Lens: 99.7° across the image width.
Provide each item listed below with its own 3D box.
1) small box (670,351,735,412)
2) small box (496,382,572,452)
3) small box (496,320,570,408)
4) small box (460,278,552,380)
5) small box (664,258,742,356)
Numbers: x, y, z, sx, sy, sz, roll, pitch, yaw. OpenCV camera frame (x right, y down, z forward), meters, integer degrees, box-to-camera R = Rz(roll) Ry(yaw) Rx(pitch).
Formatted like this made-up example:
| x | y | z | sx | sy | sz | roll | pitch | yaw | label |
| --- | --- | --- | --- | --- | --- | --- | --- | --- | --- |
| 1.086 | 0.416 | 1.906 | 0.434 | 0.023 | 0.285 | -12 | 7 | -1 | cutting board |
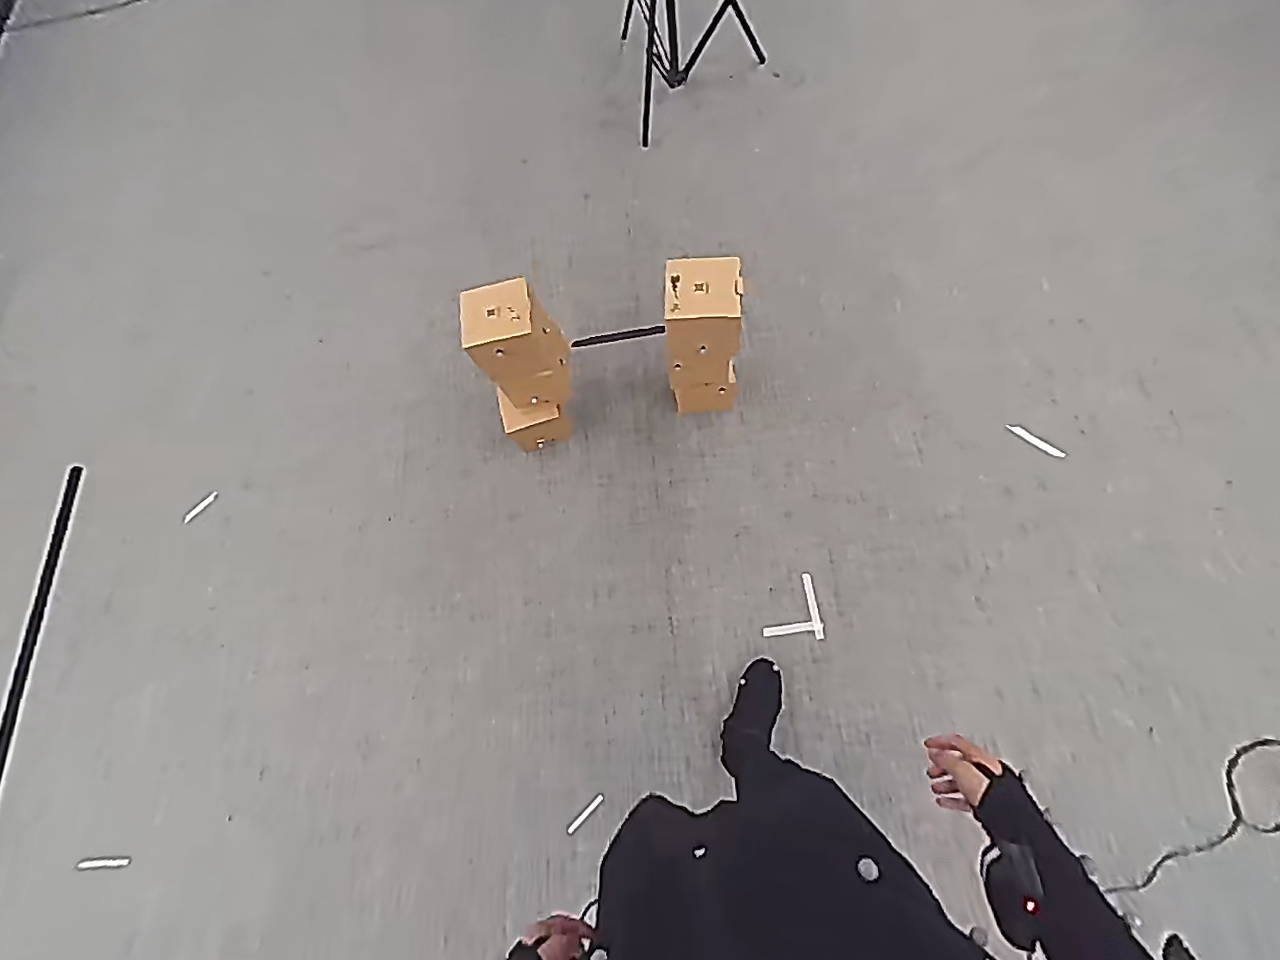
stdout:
| x | y | z | sx | sy | sz | roll | pitch | yaw | label |
| --- | --- | --- | --- | --- | --- | --- | --- | --- | --- |
| 0.187 | -0.315 | 1.621 | 0.179 | 0.176 | 0.168 | -7 | 71 | 5 | small box |
| -0.322 | -0.209 | 1.658 | 0.168 | 0.176 | 0.179 | -18 | 71 | 3 | small box |
| -0.297 | -0.322 | 1.518 | 0.168 | 0.176 | 0.179 | -4 | 71 | 8 | small box |
| -0.336 | -0.373 | 1.366 | 0.179 | 0.176 | 0.168 | -11 | 70 | 5 | small box |
| 0.152 | -0.414 | 1.310 | 0.179 | 0.176 | 0.168 | 1 | 71 | 6 | small box |
